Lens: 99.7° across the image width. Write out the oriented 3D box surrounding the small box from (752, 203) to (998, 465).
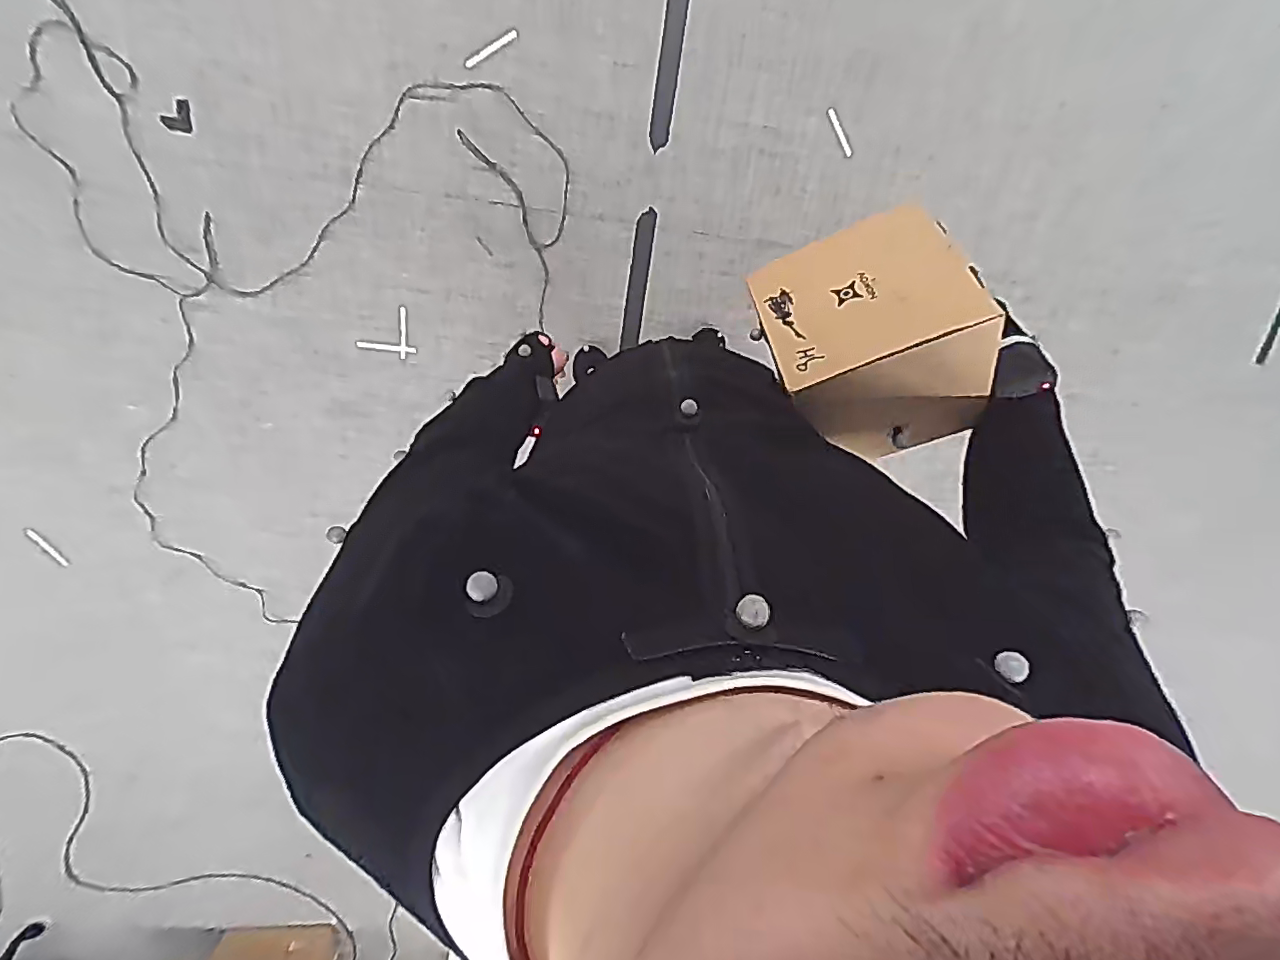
[{"bbox_3d":[0.237,-0.142,0.573,0.179,0.168,0.176,-19,146,16],"label":"small box"}]
